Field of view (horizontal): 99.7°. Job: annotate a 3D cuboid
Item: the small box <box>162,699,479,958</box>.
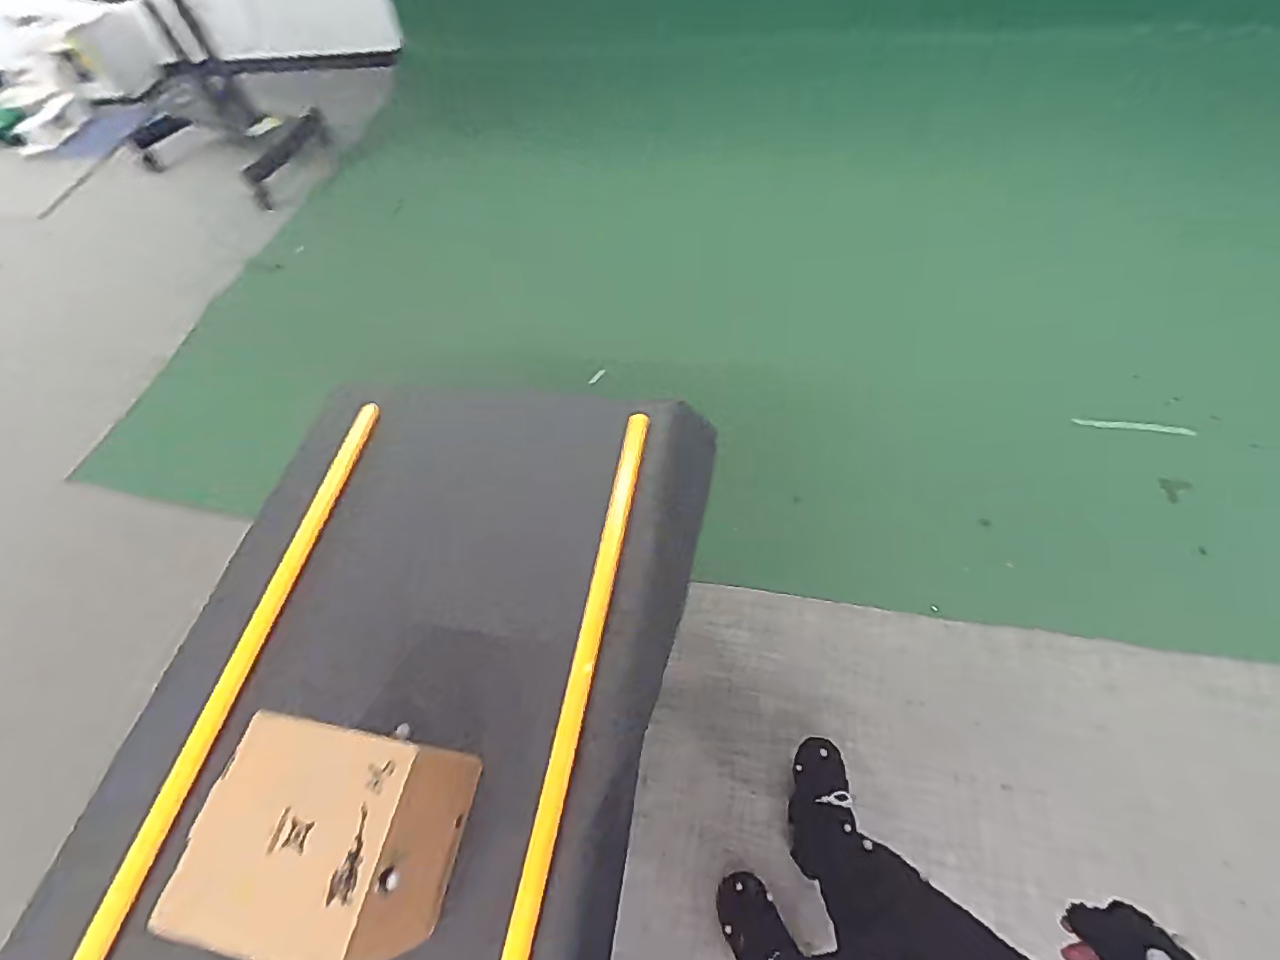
[{"bbox_3d":[-0.291,0.332,0.540,0.179,0.176,0.168,6,61,11],"label":"small box"}]
